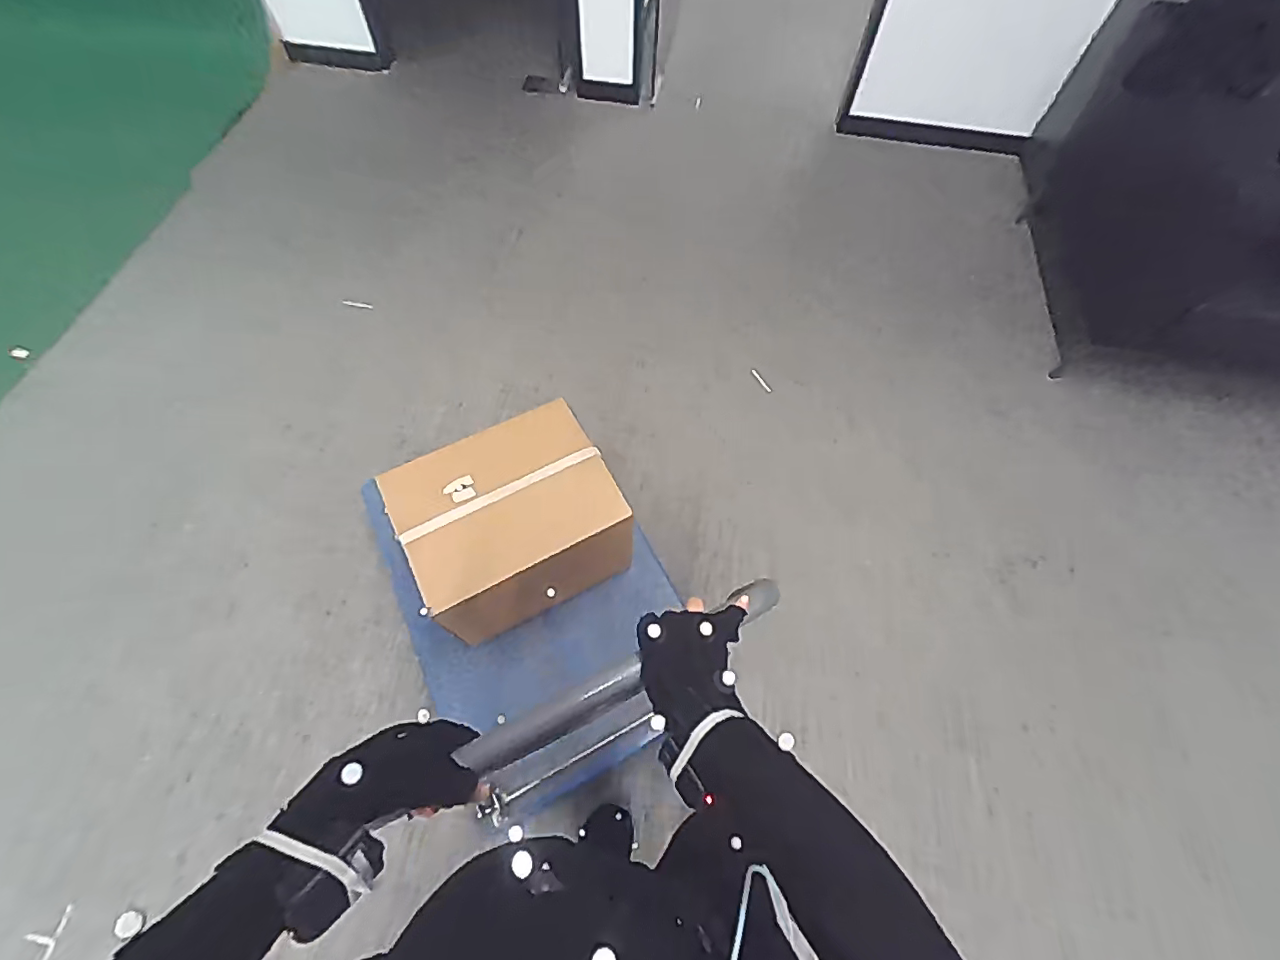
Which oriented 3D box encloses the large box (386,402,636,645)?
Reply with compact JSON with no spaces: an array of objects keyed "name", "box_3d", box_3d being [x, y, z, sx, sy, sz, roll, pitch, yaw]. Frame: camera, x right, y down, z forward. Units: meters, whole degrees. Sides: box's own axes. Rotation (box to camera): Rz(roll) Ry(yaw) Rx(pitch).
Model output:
[{"name":"large box","box_3d":[-0.256,0.103,1.180,0.408,0.320,0.320,-27,67,-14]}]
